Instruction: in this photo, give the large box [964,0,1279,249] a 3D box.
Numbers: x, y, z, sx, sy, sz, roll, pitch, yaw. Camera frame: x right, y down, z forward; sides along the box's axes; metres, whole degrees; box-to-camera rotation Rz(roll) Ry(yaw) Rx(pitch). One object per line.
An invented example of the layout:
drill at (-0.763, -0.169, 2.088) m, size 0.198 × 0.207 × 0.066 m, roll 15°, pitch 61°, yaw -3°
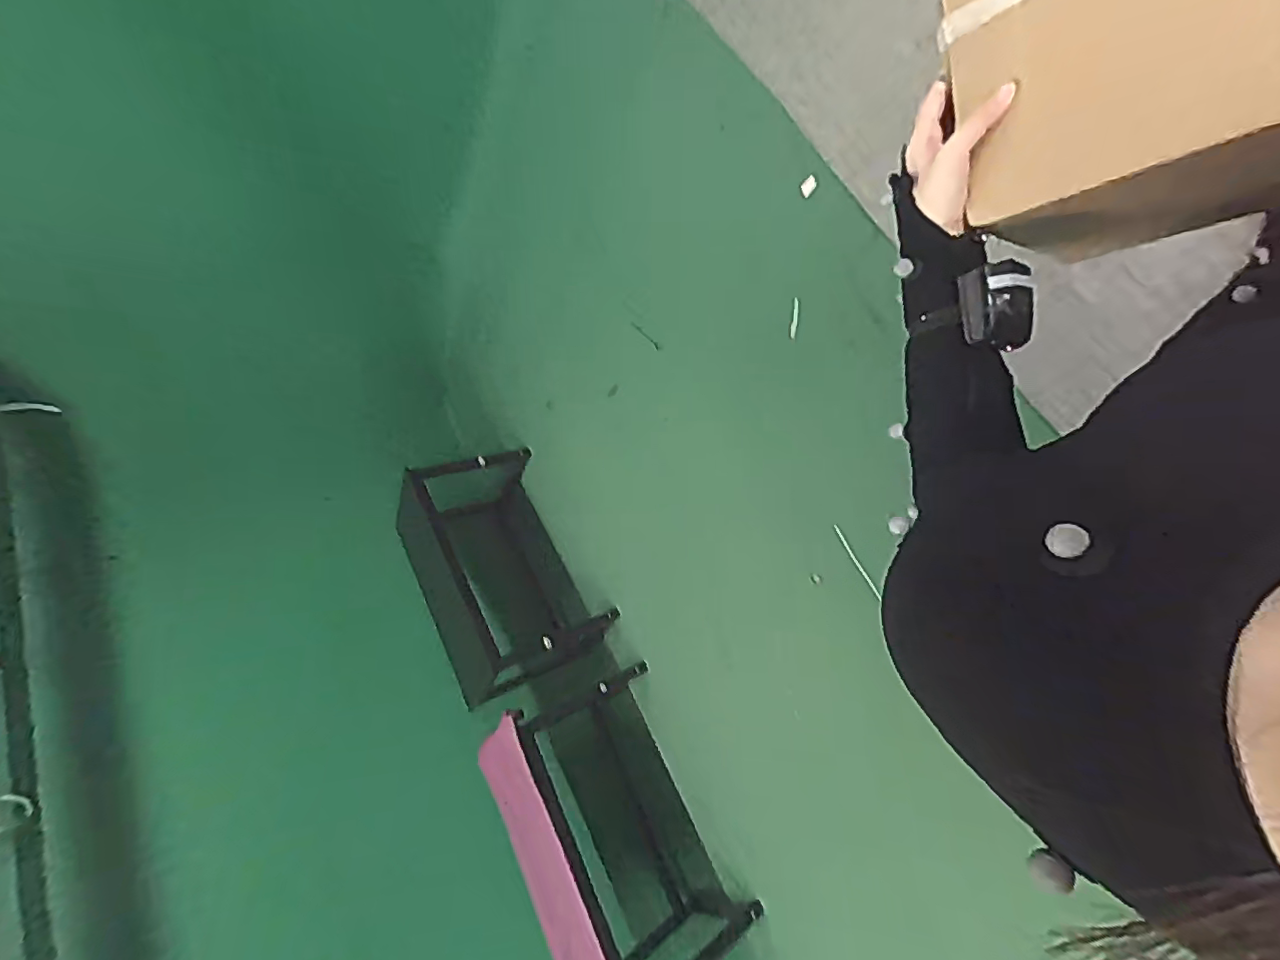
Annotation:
large box at (0.495, -0.405, 0.379) m, size 0.408 × 0.320 × 0.320 m, roll -4°, pitch 97°, yaw 48°
